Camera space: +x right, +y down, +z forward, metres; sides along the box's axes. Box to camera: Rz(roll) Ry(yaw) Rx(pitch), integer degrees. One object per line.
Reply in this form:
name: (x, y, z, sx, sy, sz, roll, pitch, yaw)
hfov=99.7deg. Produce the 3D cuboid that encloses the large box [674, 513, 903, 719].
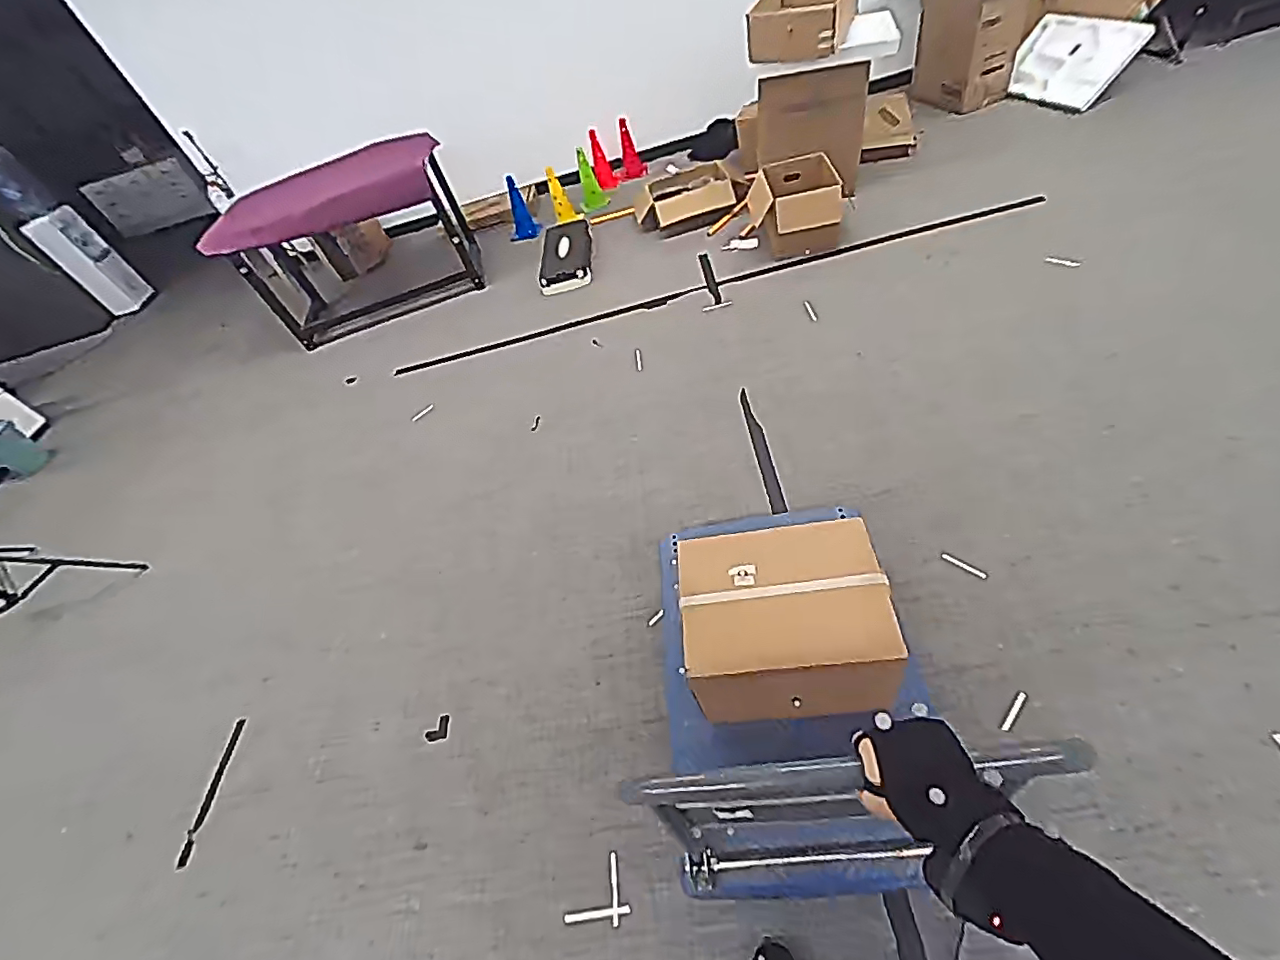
large box: (0.311, 0.313, 1.196, 0.408, 0.320, 0.320, -10, 48, 11)
